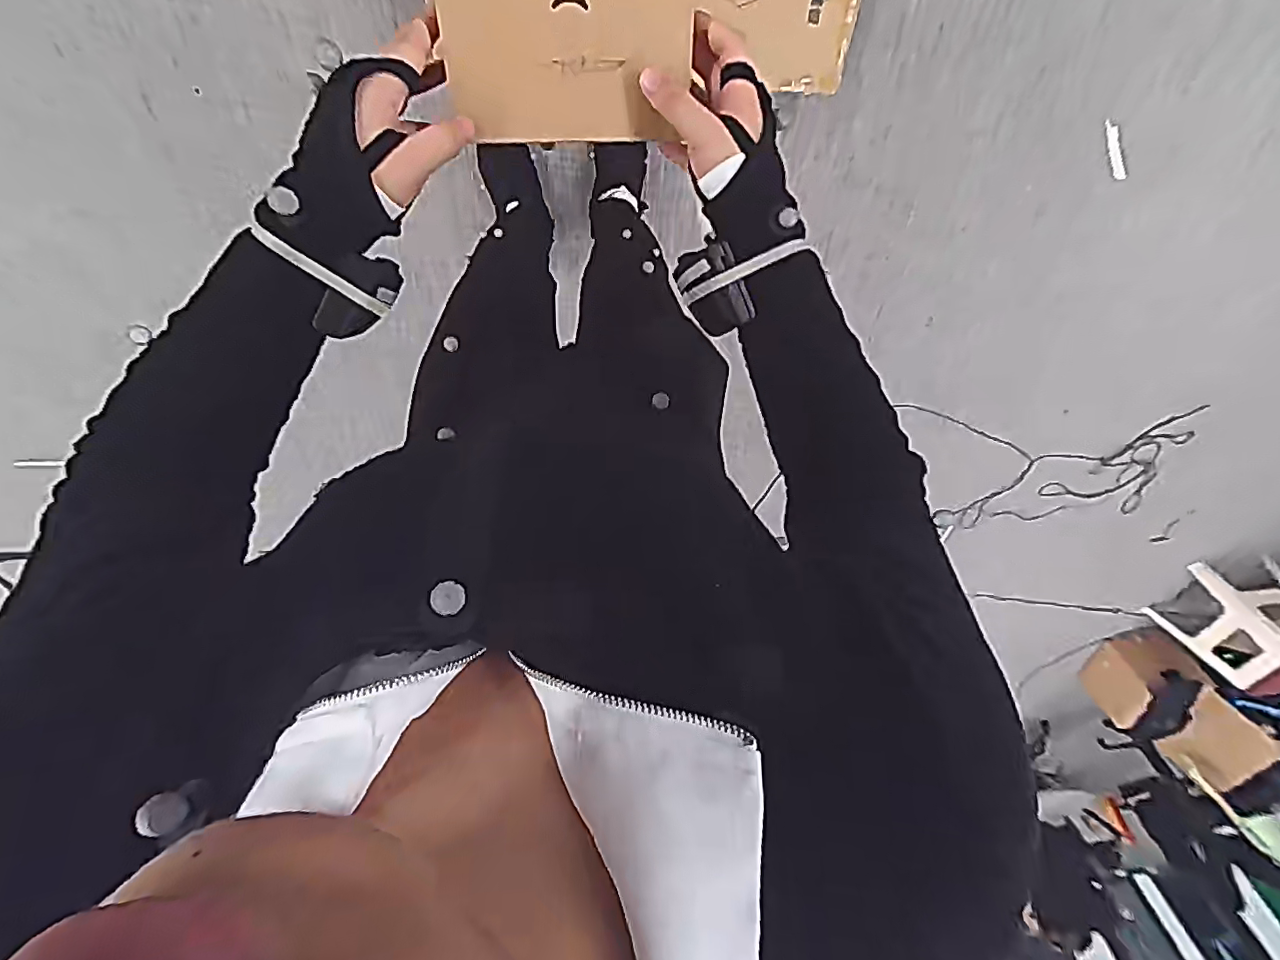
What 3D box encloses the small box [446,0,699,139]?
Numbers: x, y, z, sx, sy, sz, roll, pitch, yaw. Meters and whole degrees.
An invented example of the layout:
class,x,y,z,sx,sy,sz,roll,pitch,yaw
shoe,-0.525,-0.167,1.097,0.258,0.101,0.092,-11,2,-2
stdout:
class,x,y,z,sx,sy,sz,roll,pitch,yaw
small box,-0.059,-0.364,0.400,0.168,0.176,0.179,-7,130,-10
